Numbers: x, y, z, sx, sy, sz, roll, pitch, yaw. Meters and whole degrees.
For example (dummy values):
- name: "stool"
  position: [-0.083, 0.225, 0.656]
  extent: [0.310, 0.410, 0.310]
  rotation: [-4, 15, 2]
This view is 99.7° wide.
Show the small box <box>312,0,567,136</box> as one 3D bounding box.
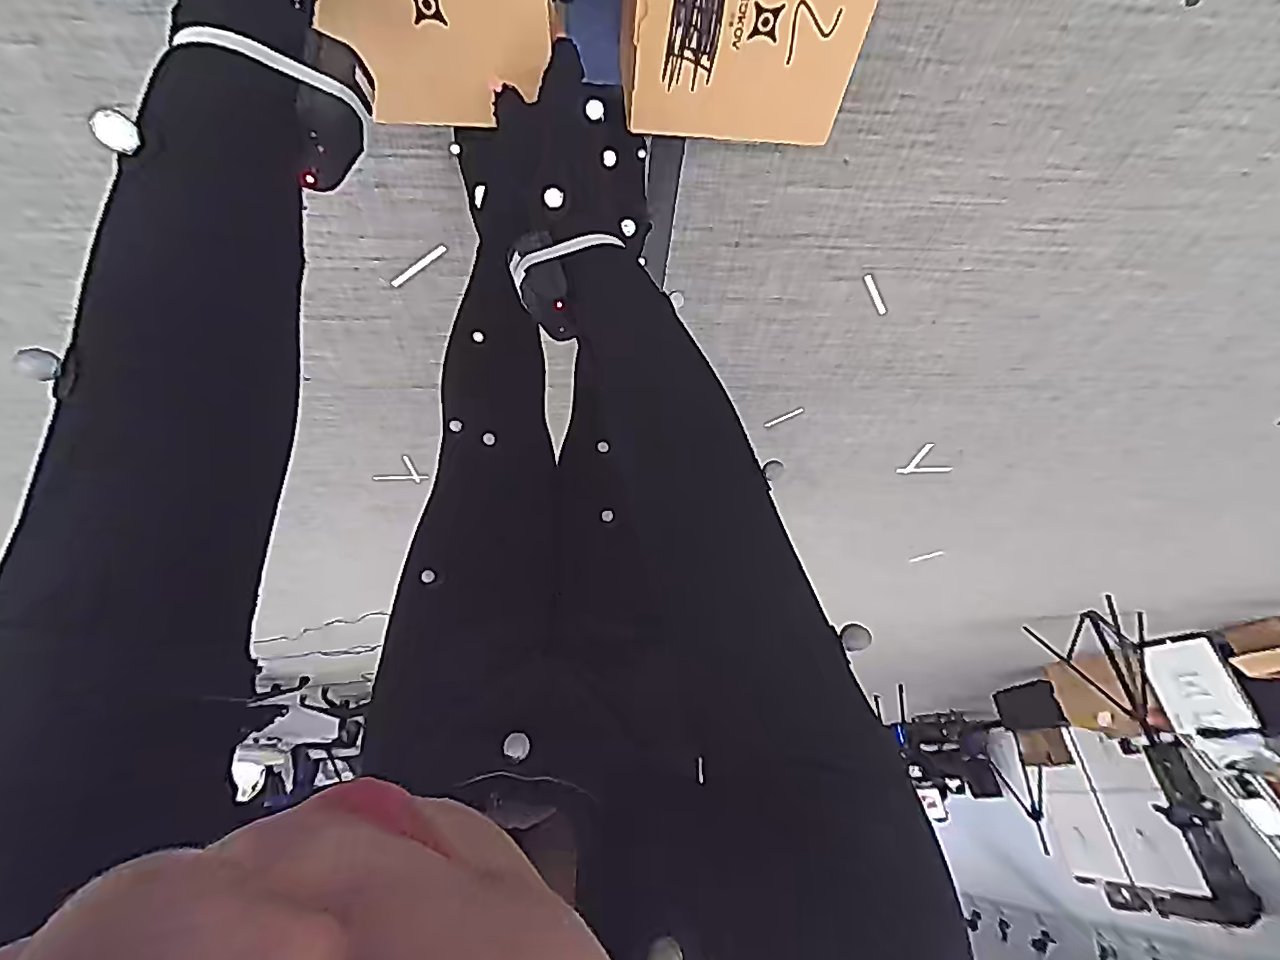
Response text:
- name: "small box"
  position: [-0.145, -0.400, 0.411]
  extent: [0.168, 0.176, 0.179]
  rotation: [0, 148, -4]
